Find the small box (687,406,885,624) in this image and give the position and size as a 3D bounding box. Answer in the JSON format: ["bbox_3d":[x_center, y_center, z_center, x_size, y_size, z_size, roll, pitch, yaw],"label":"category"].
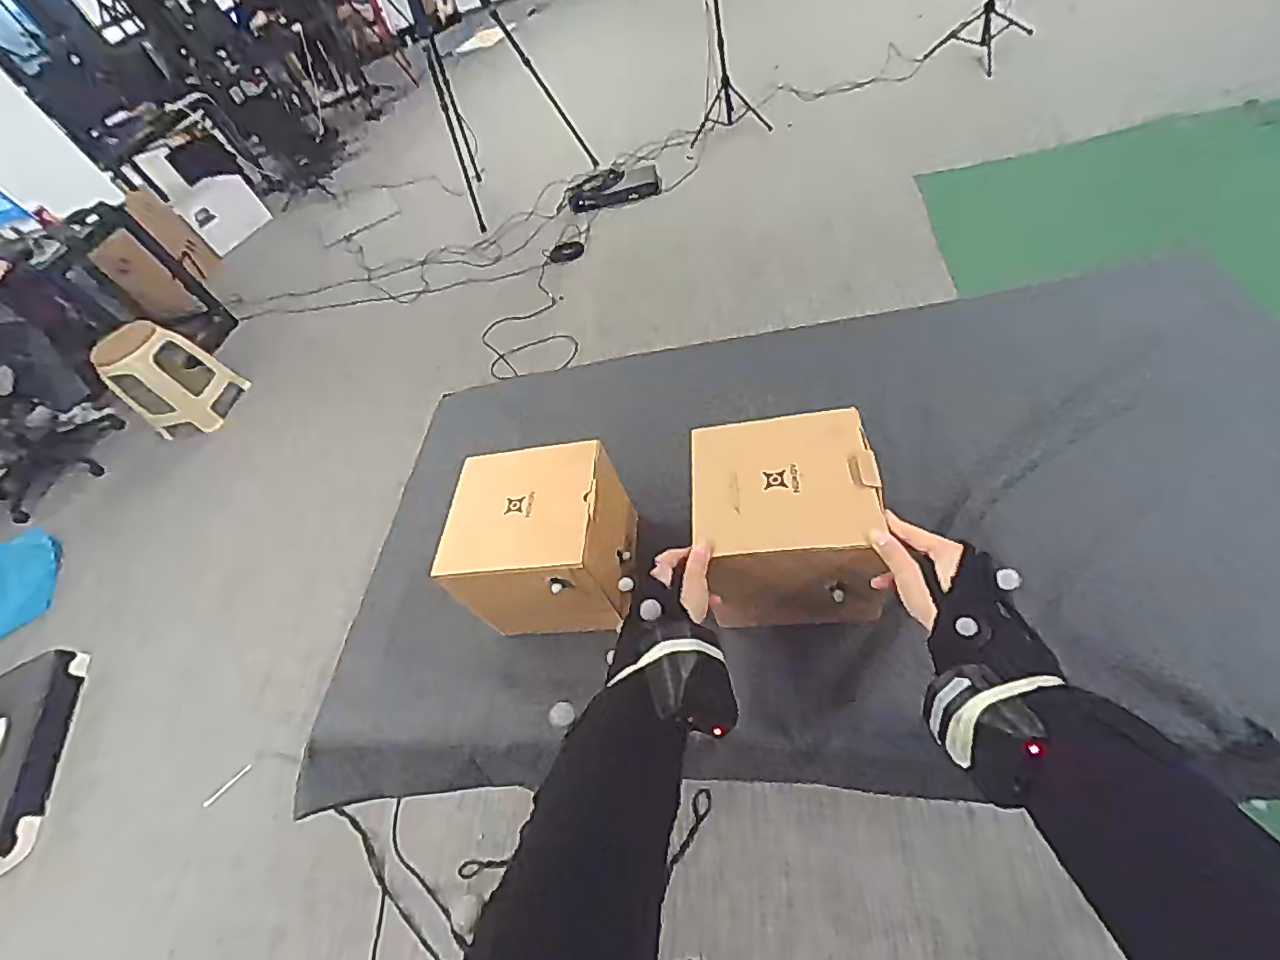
[{"bbox_3d":[0.154,0.047,0.592,0.179,0.176,0.168,-8,50,15],"label":"small box"}]

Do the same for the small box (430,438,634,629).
[{"bbox_3d":[-0.117,0.074,0.664,0.179,0.176,0.168,-7,51,13],"label":"small box"}]
